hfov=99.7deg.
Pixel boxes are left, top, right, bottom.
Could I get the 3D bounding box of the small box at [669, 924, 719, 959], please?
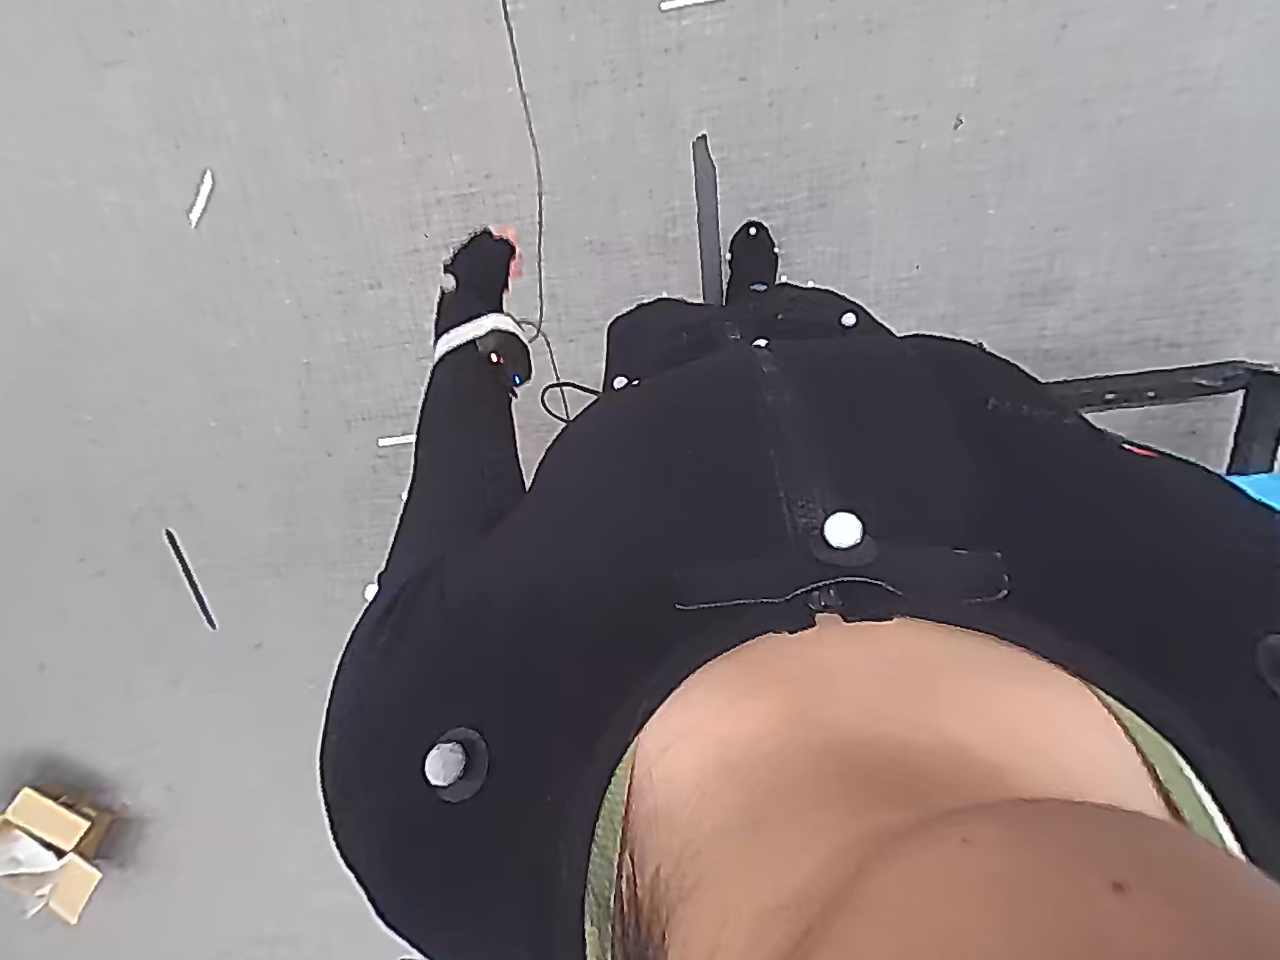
[{"bbox_3d":[0.214,1.925,2.158,0.179,0.176,0.168,12,113,5],"label":"small box"}]
